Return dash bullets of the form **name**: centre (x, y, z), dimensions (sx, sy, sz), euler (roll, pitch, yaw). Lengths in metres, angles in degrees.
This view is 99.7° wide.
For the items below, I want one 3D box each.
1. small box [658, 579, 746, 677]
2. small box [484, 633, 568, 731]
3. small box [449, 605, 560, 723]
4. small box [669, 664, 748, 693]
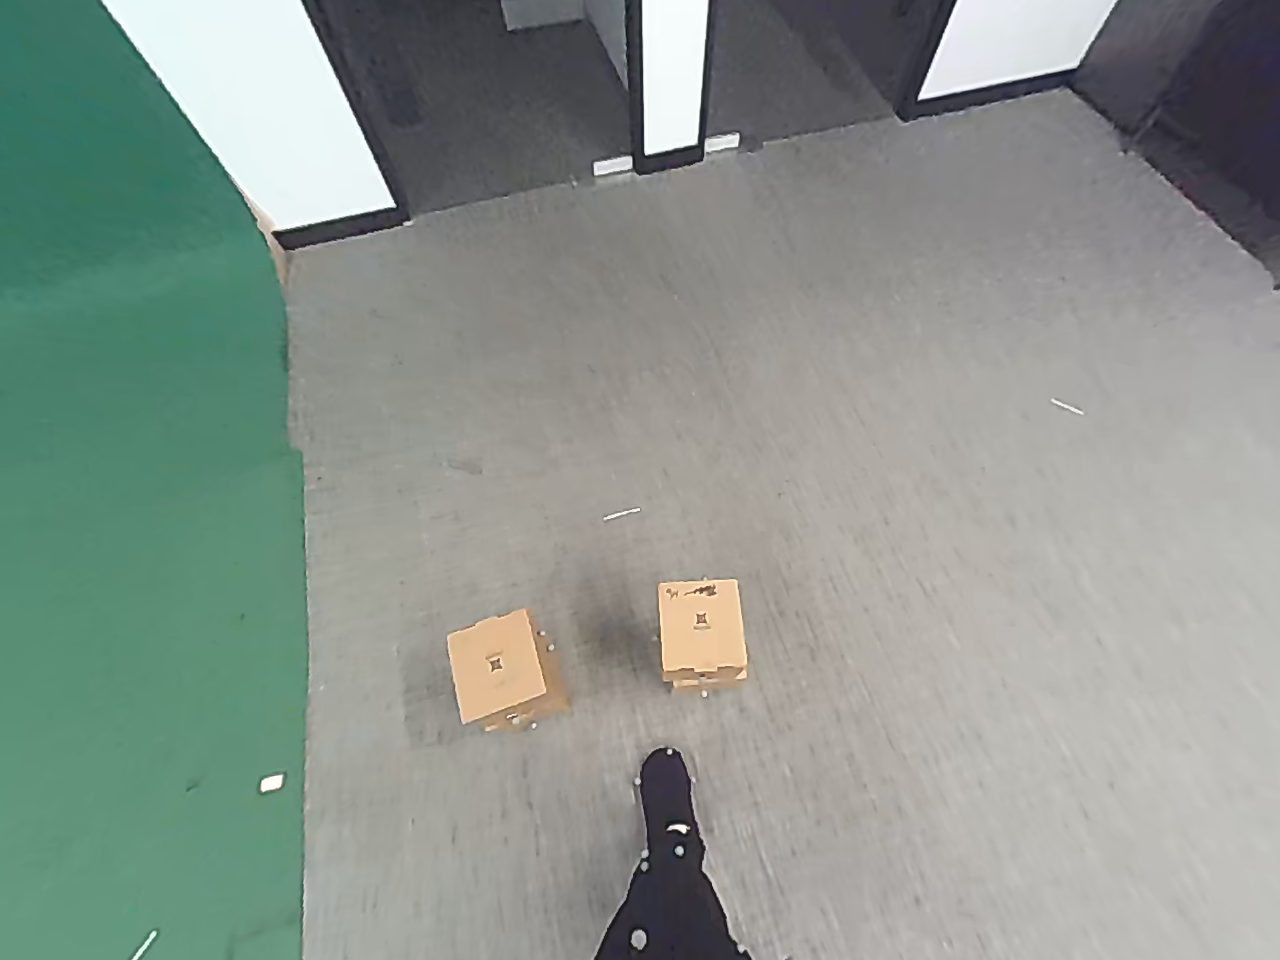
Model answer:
- **small box**: centre (0.123, 0.316, 1.137), dimensions (0.168, 0.176, 0.179), euler (-2, 63, 0)
- **small box**: centre (-0.276, 0.463, 1.253), dimensions (0.168, 0.176, 0.179), euler (-18, 64, -8)
- **small box**: centre (-0.274, 0.383, 1.113), dimensions (0.168, 0.176, 0.179), euler (-18, 65, -7)
- **small box**: centre (0.146, 0.397, 1.278), dimensions (0.168, 0.176, 0.179), euler (-6, 63, -2)
